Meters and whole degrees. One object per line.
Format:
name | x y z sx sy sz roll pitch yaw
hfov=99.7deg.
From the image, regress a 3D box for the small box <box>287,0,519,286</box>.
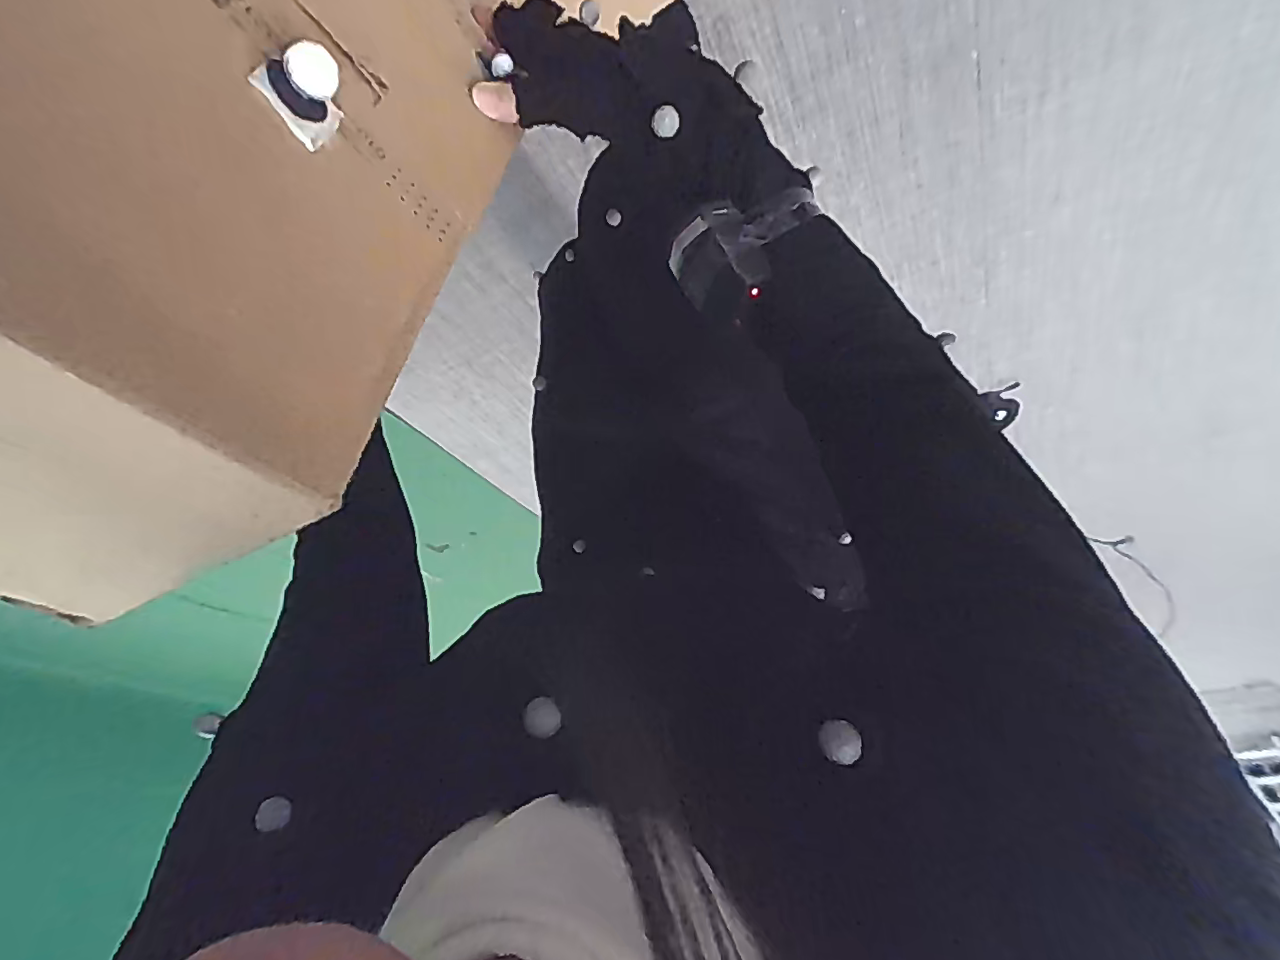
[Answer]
small box | -0.186 -0.195 0.300 0.179 0.176 0.168 -19 136 27
